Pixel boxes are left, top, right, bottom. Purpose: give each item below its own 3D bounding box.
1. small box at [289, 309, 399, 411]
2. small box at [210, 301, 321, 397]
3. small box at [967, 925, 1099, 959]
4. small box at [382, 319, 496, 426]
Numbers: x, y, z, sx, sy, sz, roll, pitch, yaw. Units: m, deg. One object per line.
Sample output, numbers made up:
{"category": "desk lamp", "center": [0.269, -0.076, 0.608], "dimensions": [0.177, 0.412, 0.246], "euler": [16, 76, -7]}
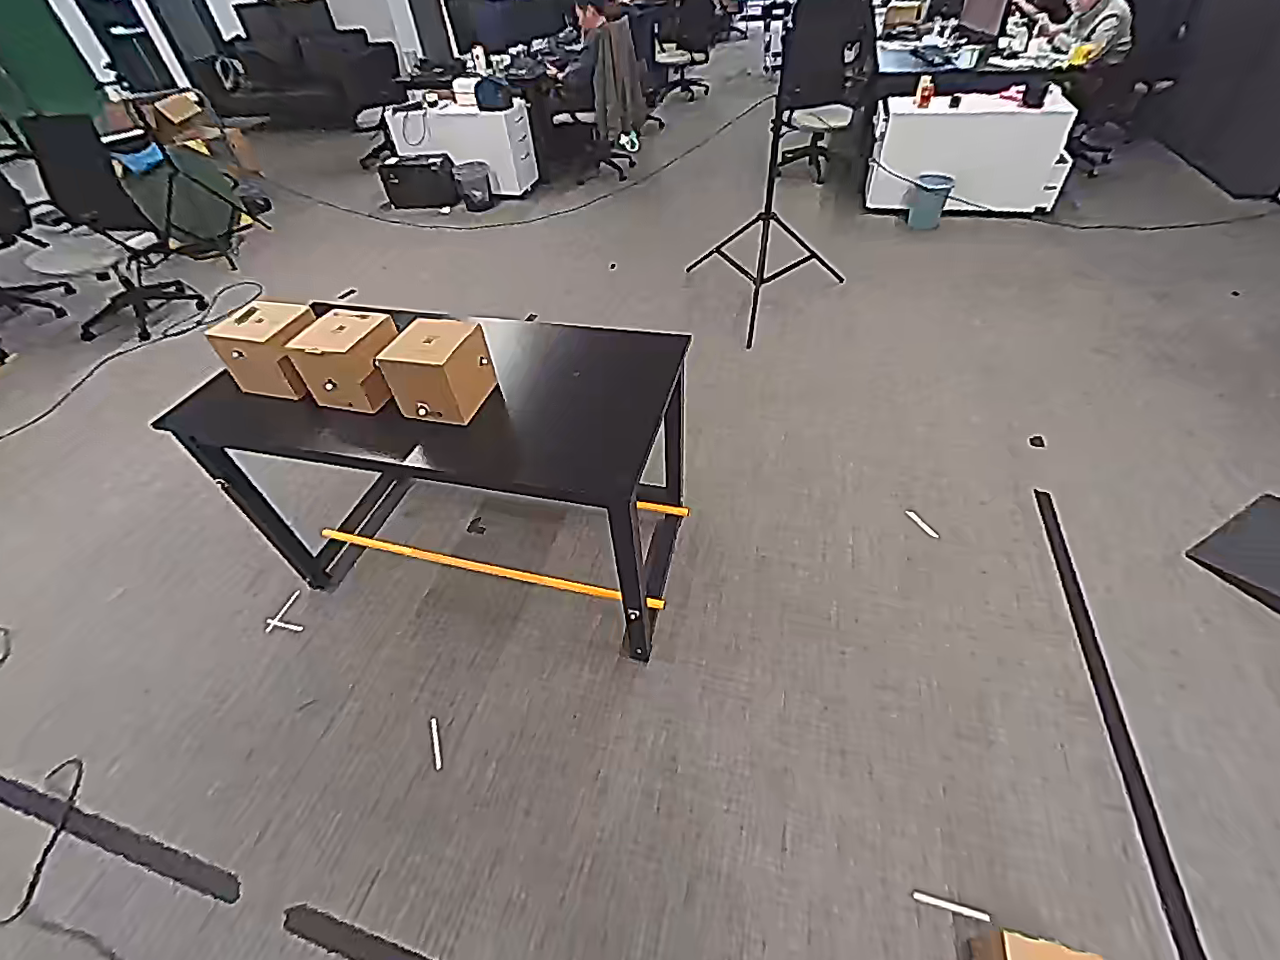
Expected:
{"category": "small box", "center": [-0.681, -0.286, 1.300], "dimensions": [0.168, 0.176, 0.179], "euler": [10, 48, 12]}
{"category": "small box", "center": [-0.902, -0.327, 1.356], "dimensions": [0.179, 0.176, 0.168], "euler": [10, 48, 12]}
{"category": "small box", "center": [0.732, 0.961, 0.995], "dimensions": [0.168, 0.176, 0.179], "euler": [8, 47, 12]}
{"category": "small box", "center": [-0.450, -0.250, 1.250], "dimensions": [0.168, 0.176, 0.179], "euler": [7, 48, 13]}
